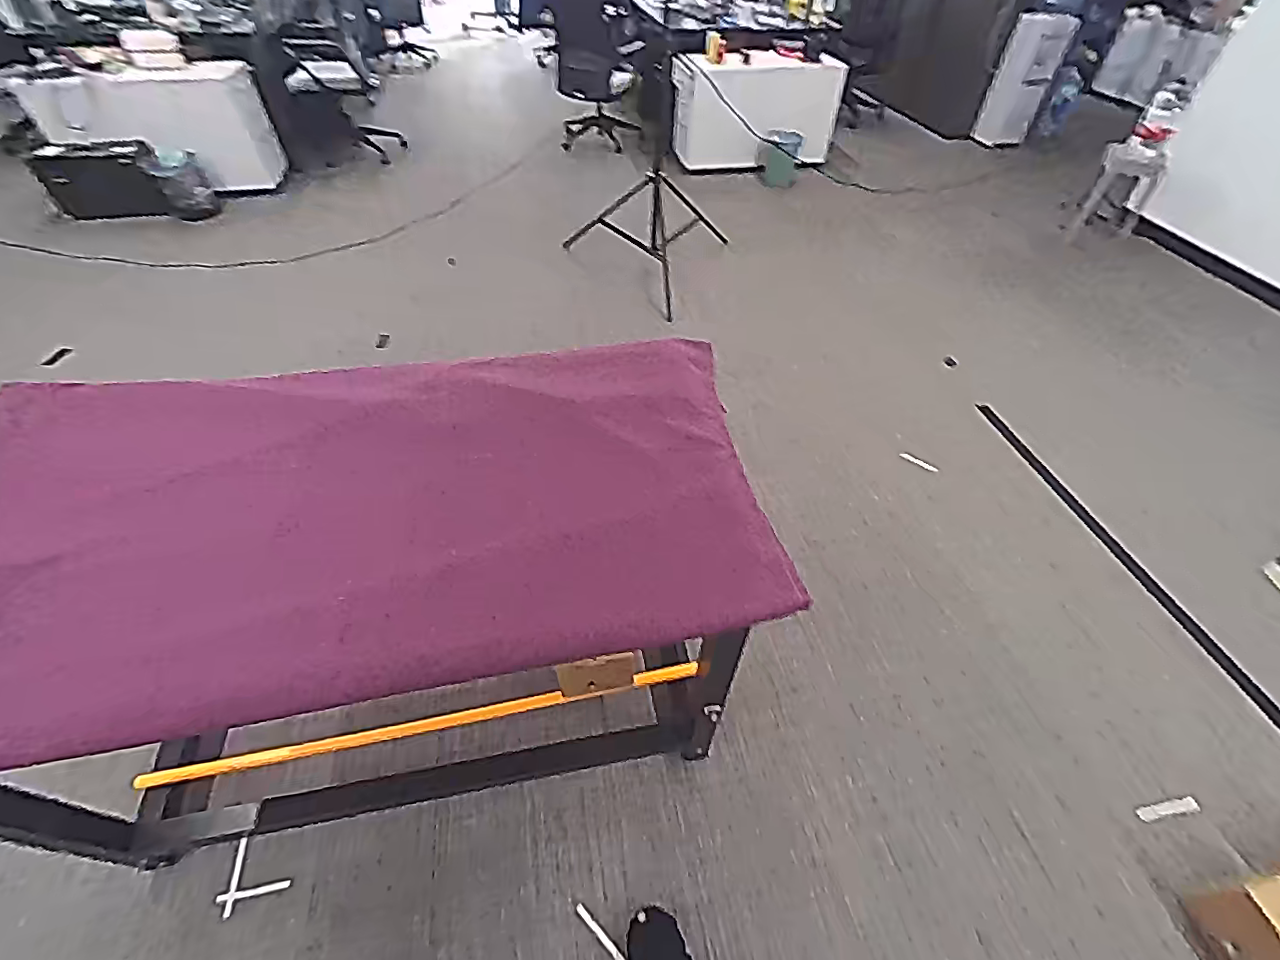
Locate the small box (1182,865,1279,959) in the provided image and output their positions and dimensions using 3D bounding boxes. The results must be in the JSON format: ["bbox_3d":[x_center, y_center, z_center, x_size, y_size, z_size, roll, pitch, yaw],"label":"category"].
[{"bbox_3d":[1.189,0.827,0.999,0.179,0.176,0.168,-9,48,-9],"label":"small box"}]

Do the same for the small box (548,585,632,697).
[{"bbox_3d":[-0.114,0.367,1.231,0.168,0.176,0.179,-9,50,-8],"label":"small box"}]
